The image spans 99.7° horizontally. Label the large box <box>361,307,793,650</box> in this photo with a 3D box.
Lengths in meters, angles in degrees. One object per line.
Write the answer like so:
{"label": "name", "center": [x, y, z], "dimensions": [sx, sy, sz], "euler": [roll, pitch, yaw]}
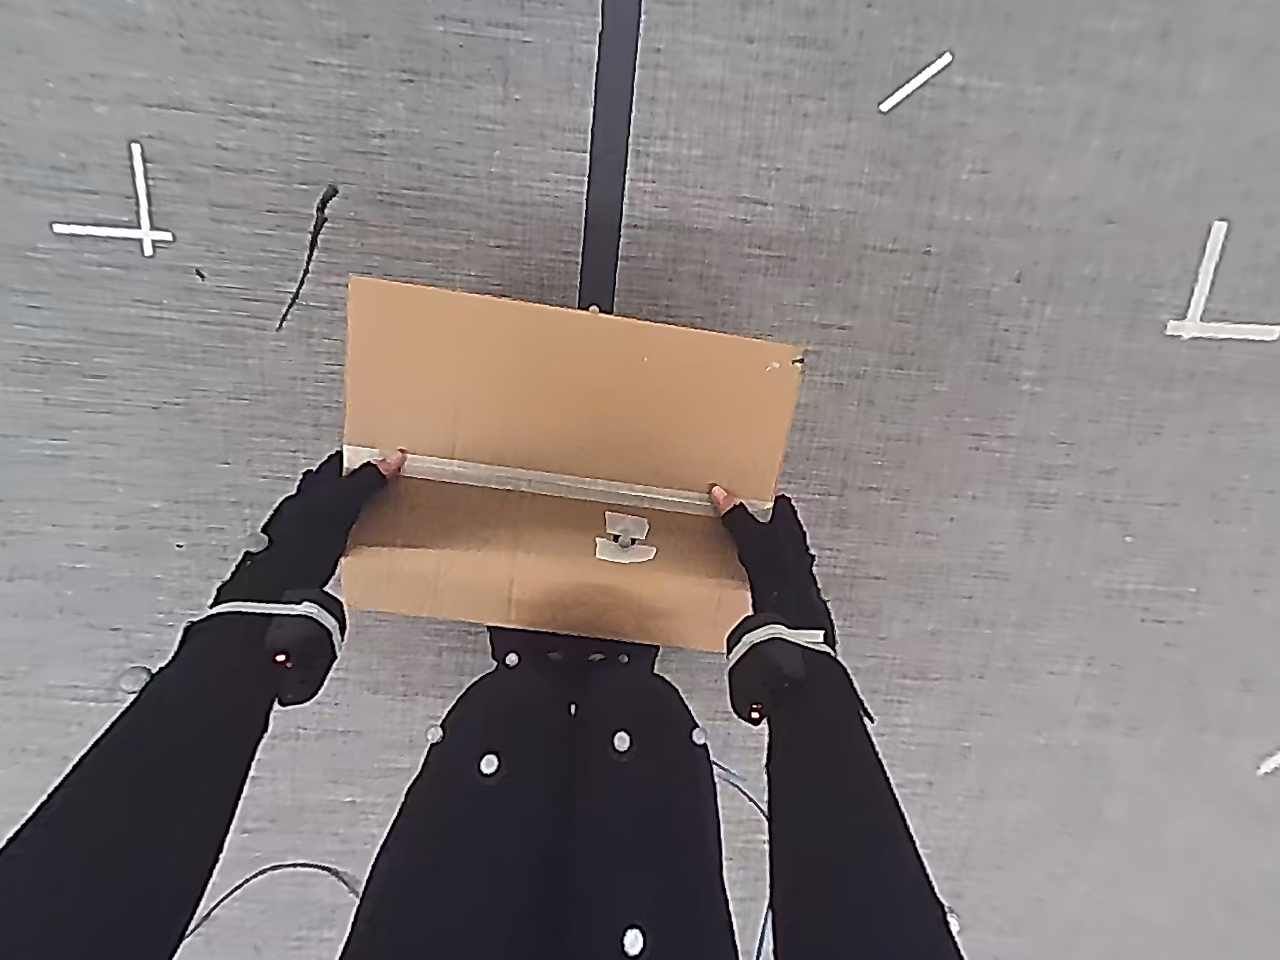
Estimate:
{"label": "large box", "center": [-0.077, -0.019, 0.677], "dimensions": [0.408, 0.320, 0.320], "euler": [7, 103, -5]}
